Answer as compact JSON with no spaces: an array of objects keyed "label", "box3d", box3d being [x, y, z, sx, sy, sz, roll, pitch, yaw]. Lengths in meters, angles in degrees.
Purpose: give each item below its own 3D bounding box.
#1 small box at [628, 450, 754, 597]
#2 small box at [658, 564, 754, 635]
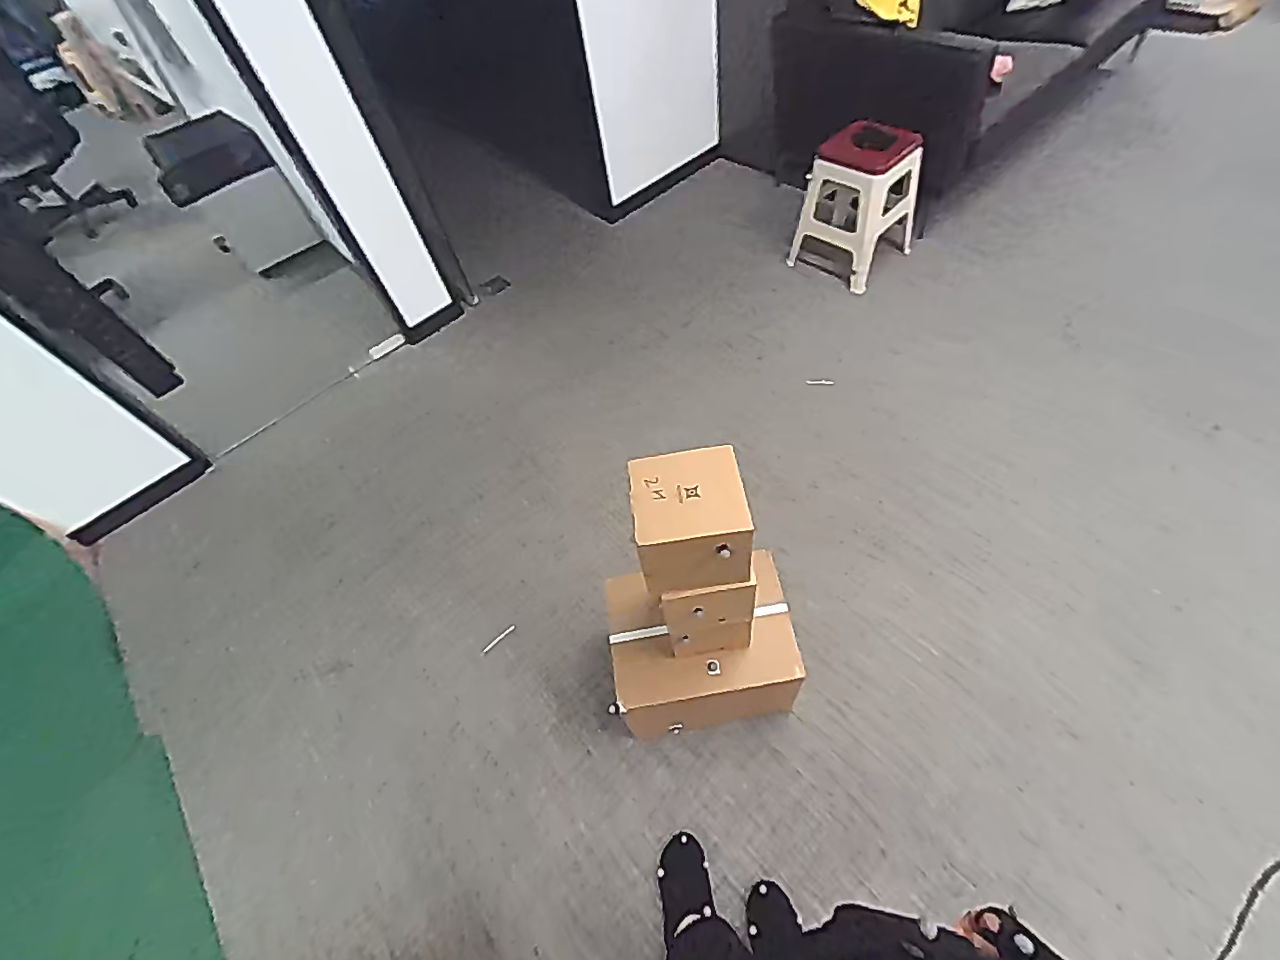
[{"label":"small box","box3d":[0.082,0.075,0.889,0.179,0.176,0.168,-9,51,3]},{"label":"small box","box3d":[0.115,0.177,1.015,0.168,0.176,0.179,-10,51,2]}]
